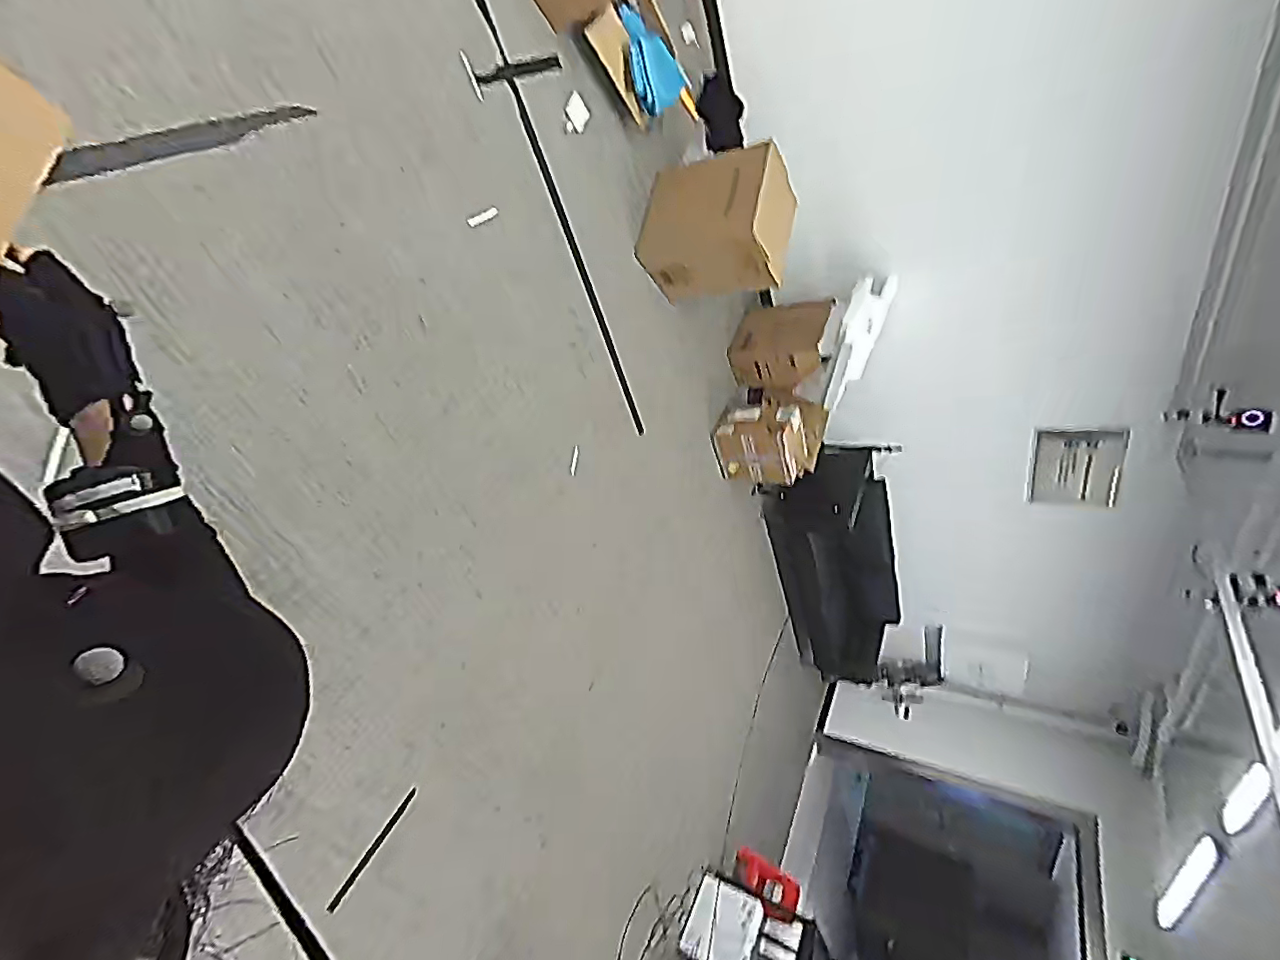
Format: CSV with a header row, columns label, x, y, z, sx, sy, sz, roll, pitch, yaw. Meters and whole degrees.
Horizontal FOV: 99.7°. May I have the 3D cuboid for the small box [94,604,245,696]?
label,x,y,z,sx,sy,sz,roll,pitch,yaw
small box,-1.041,0.400,1.193,0.179,0.176,0.168,-58,139,-38
